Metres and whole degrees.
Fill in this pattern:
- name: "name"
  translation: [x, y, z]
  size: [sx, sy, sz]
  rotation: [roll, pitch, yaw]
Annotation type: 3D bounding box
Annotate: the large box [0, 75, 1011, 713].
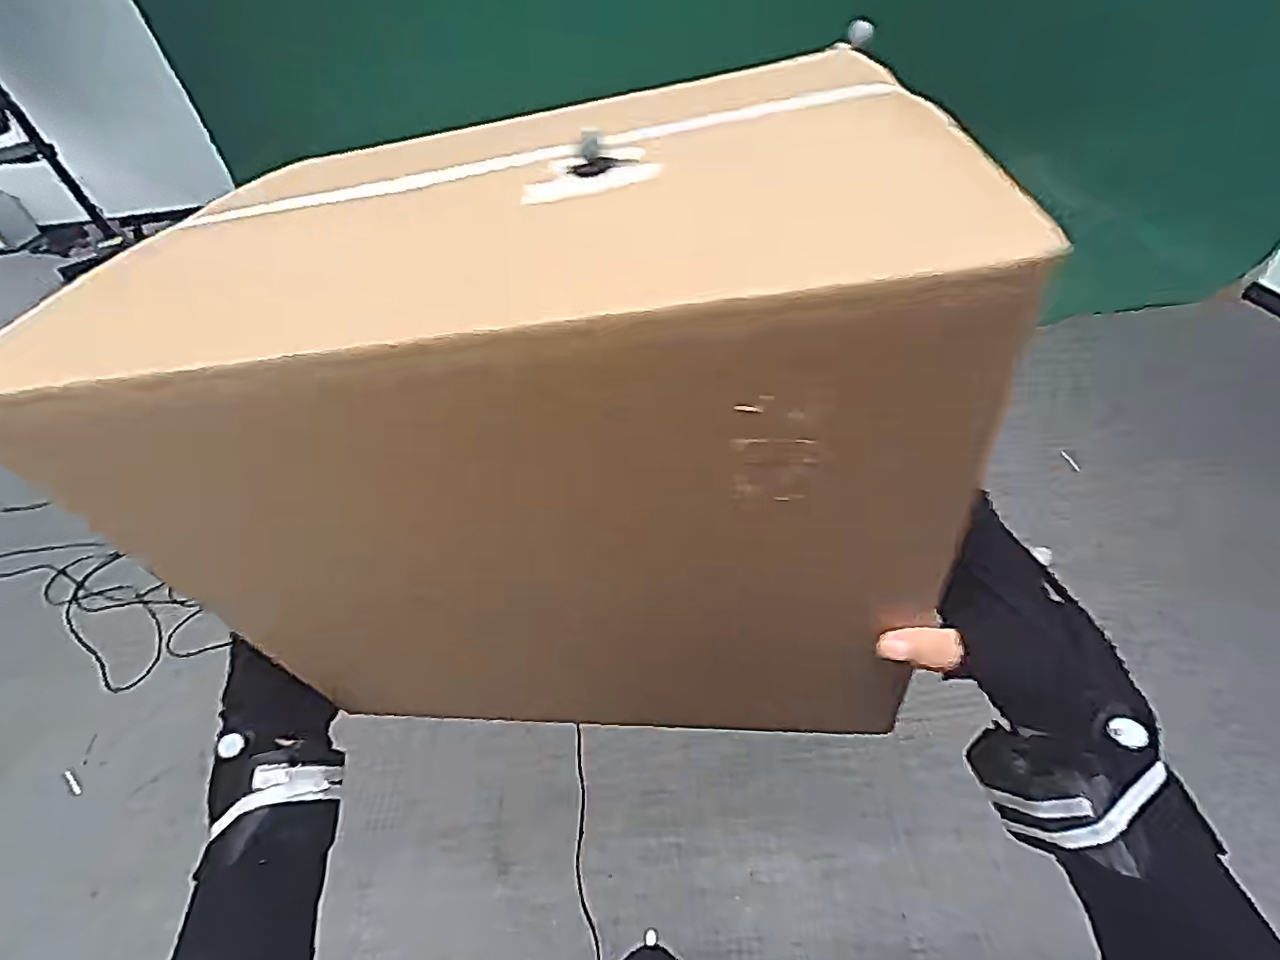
- name: "large box"
  translation: [-0.047, -0.045, 0.395]
  size: [0.408, 0.320, 0.320]
  rotation: [-3, 45, 12]
